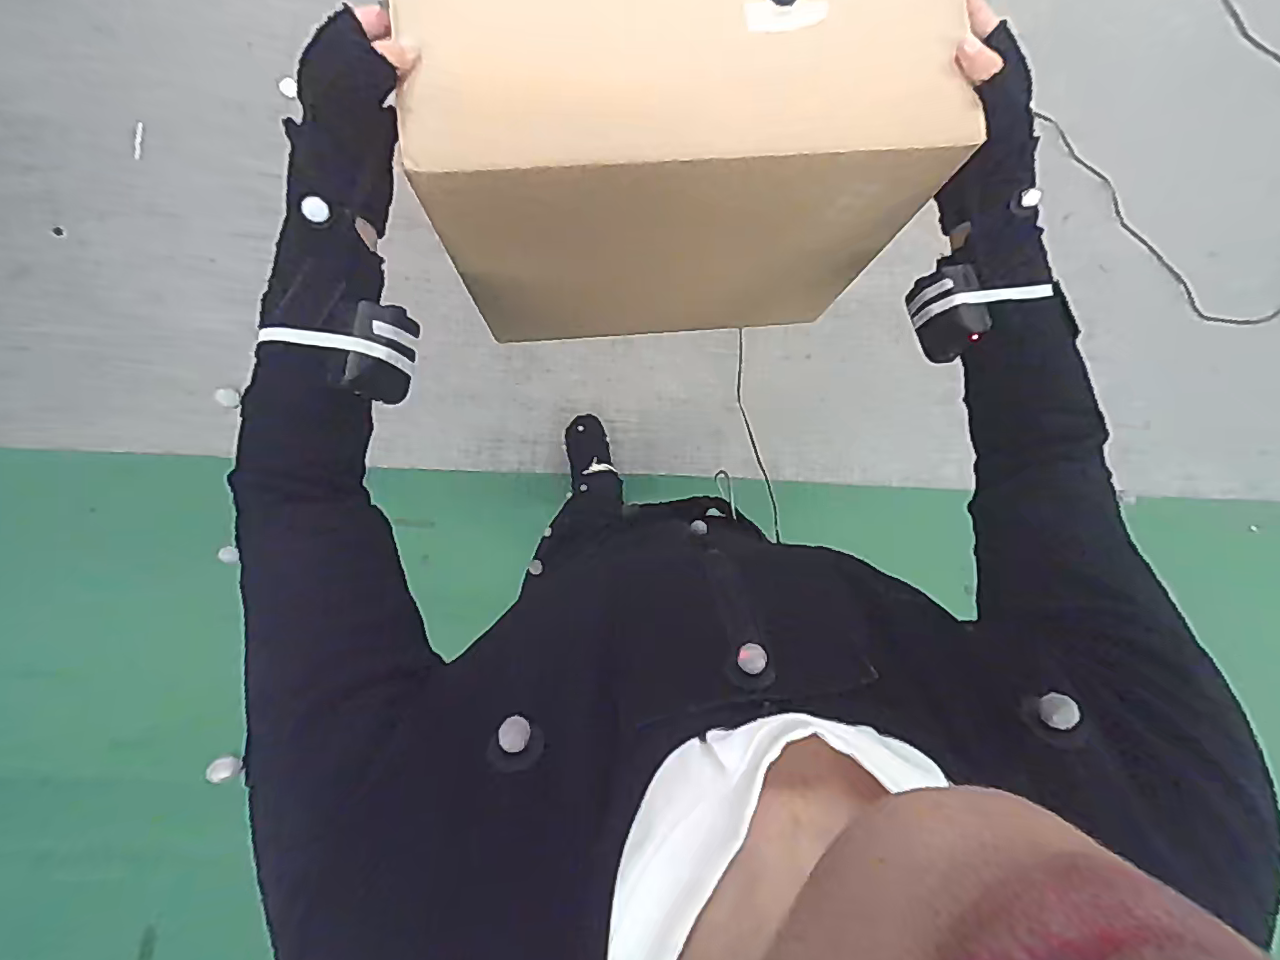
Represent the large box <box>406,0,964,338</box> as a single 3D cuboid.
[{"bbox_3d":[0.015,-0.360,0.547,0.408,0.320,0.320,-6,84,-5],"label":"large box"}]
